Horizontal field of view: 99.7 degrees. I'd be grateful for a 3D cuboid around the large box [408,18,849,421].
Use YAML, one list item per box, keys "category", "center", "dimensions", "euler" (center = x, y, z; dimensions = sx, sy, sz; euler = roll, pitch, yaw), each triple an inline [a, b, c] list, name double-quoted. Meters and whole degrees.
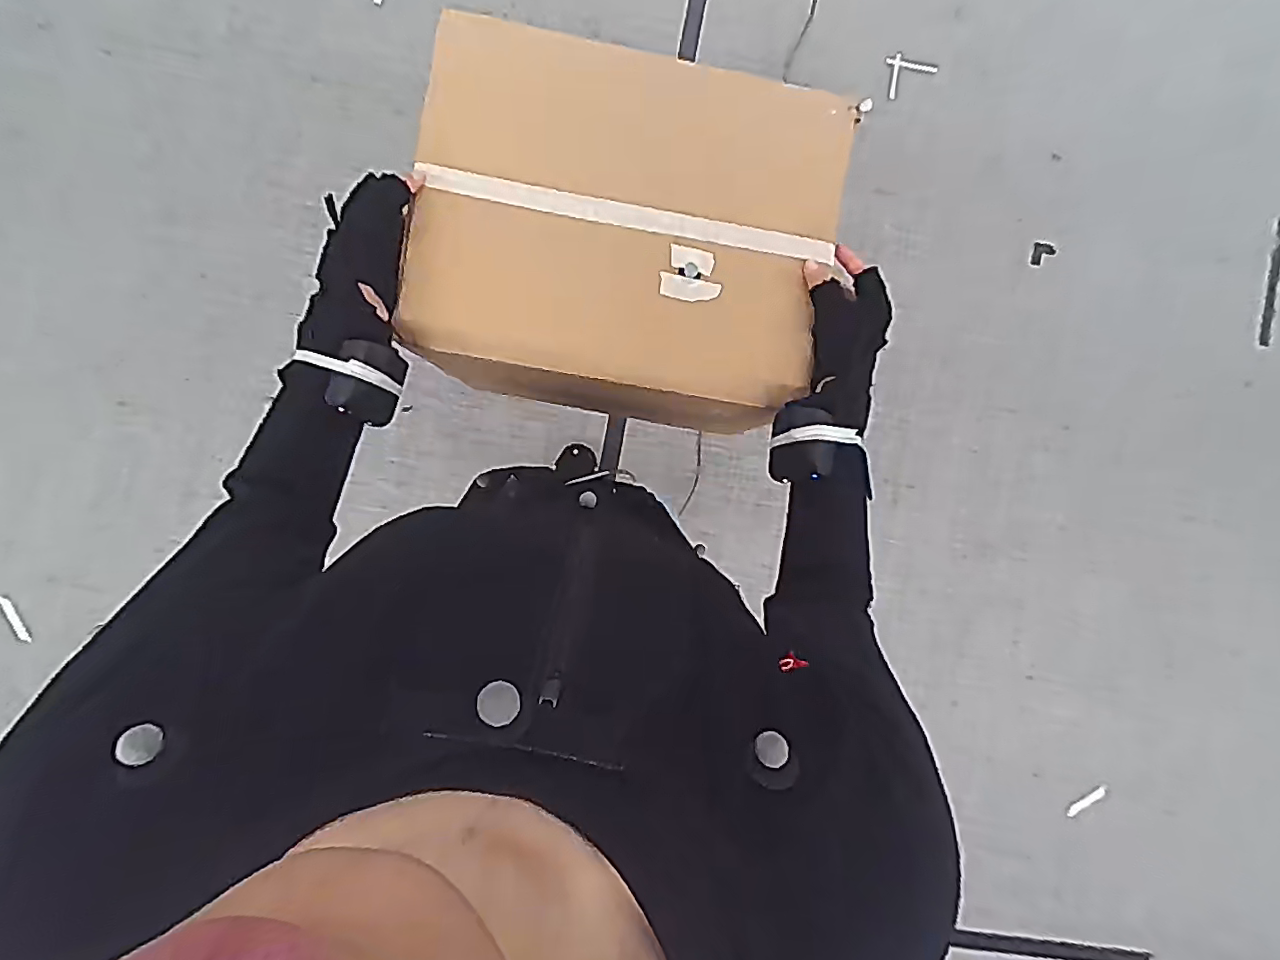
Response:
- category: "large box"
  center: [-0.019, -0.266, 0.678]
  dimensions: [0.408, 0.320, 0.320]
  euler: [10, 92, -4]
